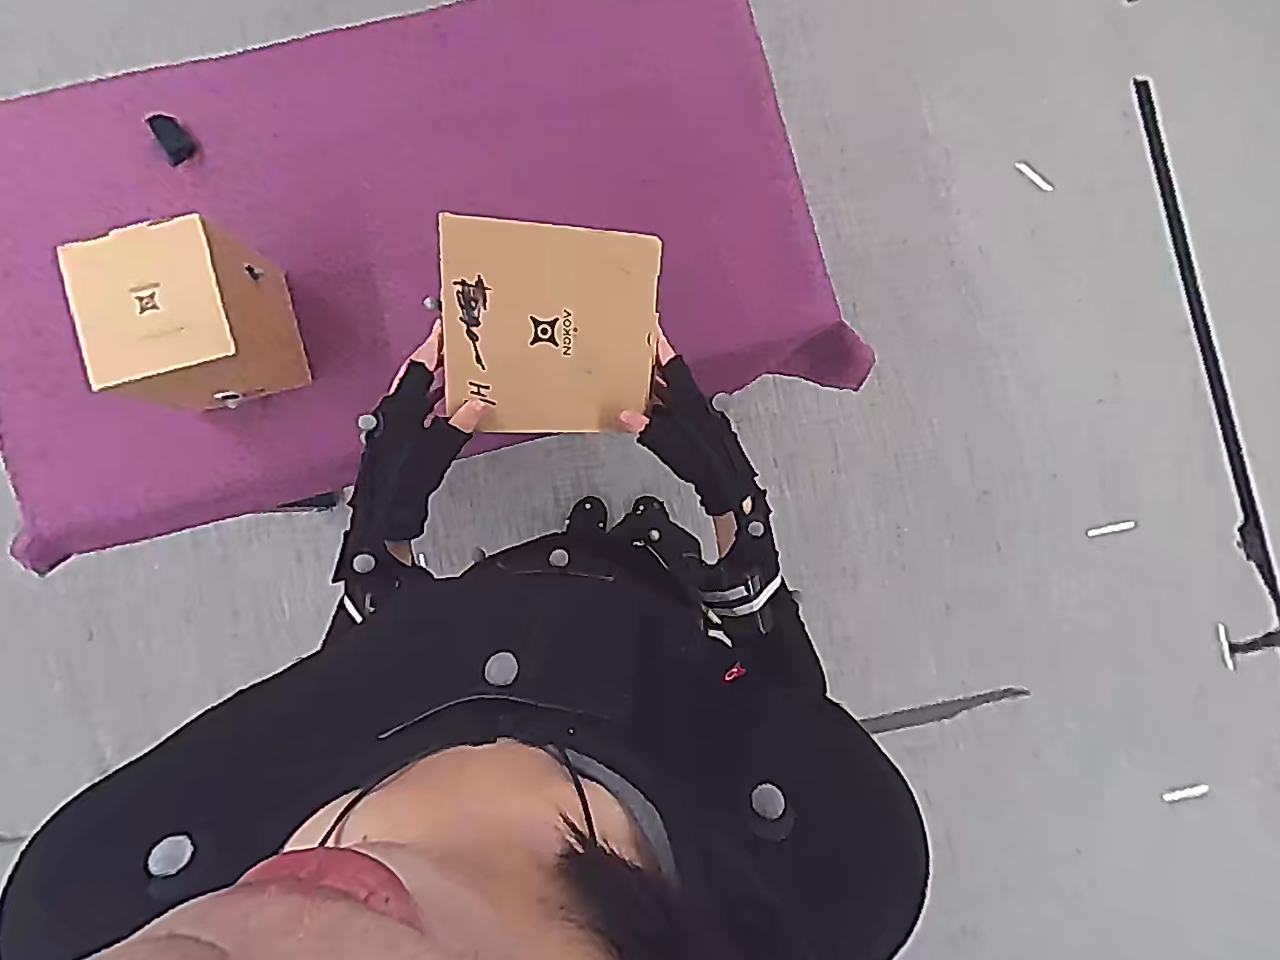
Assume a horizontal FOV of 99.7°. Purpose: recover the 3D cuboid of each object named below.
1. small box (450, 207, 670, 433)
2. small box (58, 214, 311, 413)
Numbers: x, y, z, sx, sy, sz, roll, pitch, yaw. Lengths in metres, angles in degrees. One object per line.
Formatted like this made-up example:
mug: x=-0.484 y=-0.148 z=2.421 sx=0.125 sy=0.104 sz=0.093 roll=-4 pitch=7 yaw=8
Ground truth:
small box: x=-0.086 y=-0.141 z=0.514 sx=0.179 sy=0.176 sz=0.168 roll=0 pitch=103 yaw=-16
small box: x=-0.568 y=-0.202 z=0.700 sx=0.168 sy=0.176 sz=0.179 roll=-17 pitch=89 yaw=-4
